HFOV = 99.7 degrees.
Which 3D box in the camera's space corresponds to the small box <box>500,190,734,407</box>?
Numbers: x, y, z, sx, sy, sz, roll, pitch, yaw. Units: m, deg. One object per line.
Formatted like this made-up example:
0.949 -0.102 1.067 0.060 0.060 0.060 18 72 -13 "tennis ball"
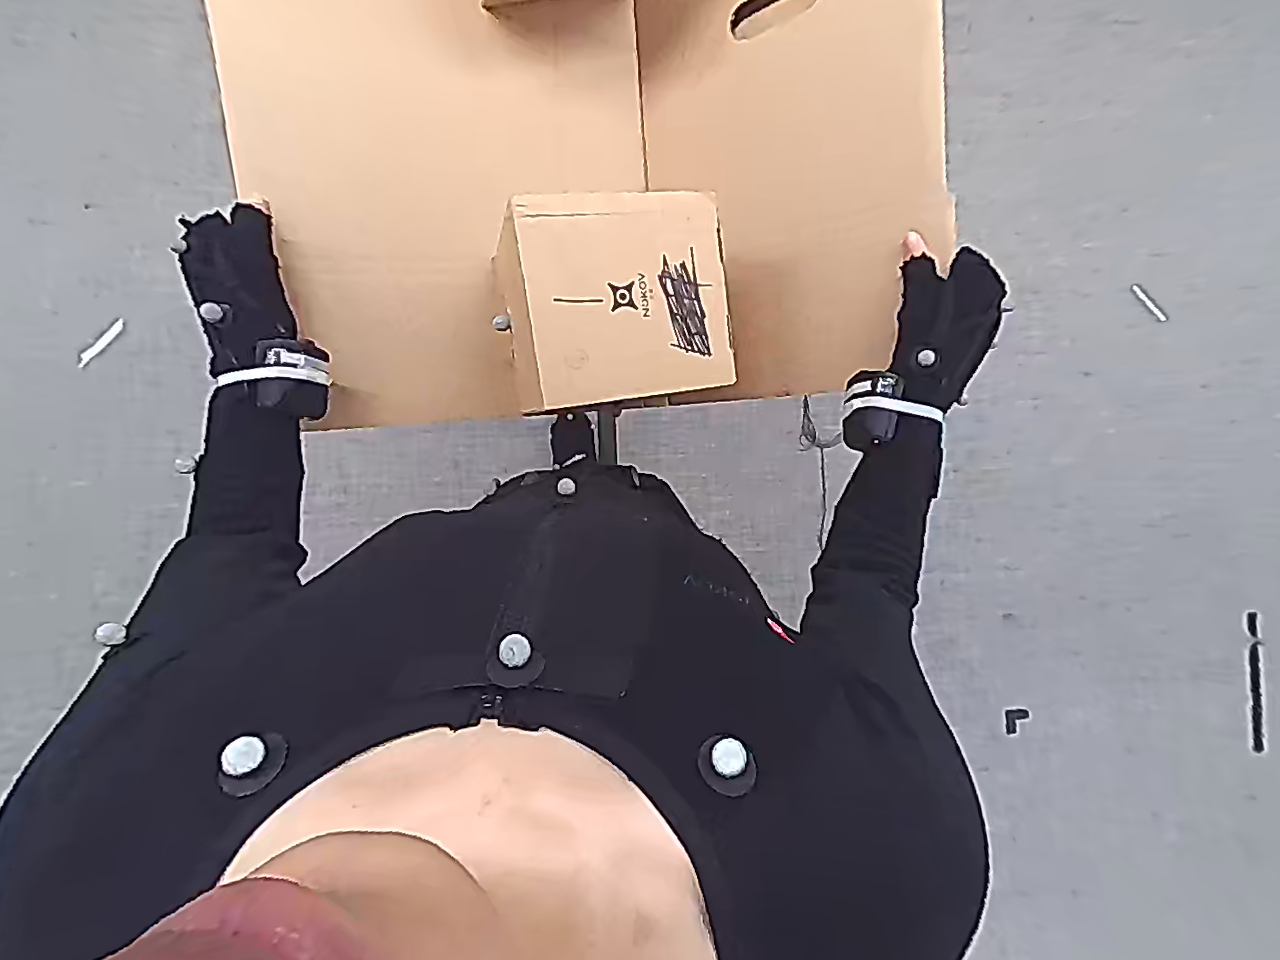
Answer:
-0.030 -0.163 0.524 0.179 0.176 0.168 -10 99 -17 "small box"
